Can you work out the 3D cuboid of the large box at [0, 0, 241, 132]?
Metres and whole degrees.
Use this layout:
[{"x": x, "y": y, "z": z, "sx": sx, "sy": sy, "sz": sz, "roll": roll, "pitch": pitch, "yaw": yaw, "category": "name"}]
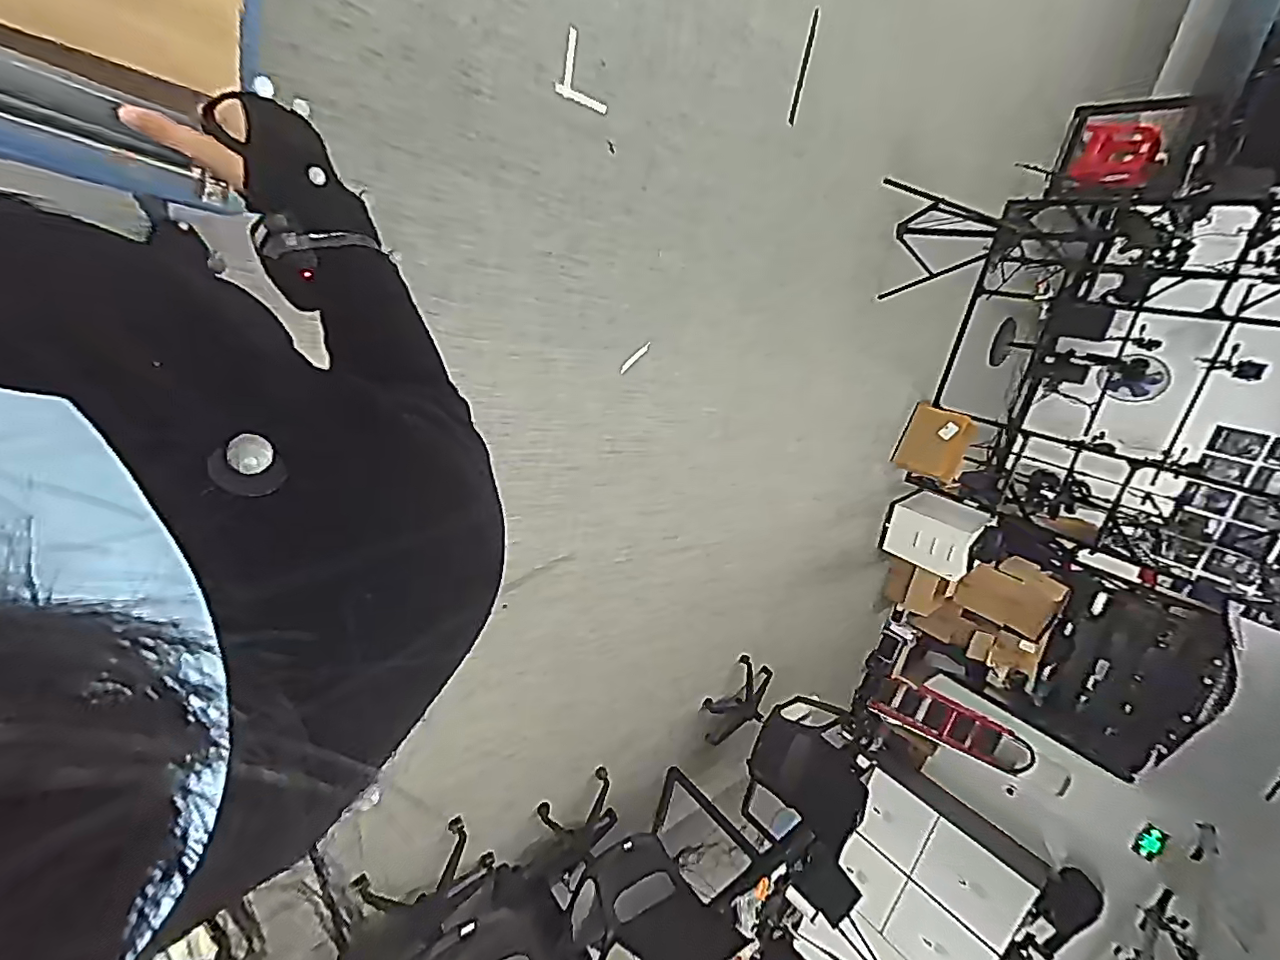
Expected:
[{"x": -0.758, "y": -0.678, "z": 0.650, "sx": 0.408, "sy": 0.320, "sz": 0.320, "roll": -5, "pitch": 112, "yaw": -45, "category": "large box"}]
